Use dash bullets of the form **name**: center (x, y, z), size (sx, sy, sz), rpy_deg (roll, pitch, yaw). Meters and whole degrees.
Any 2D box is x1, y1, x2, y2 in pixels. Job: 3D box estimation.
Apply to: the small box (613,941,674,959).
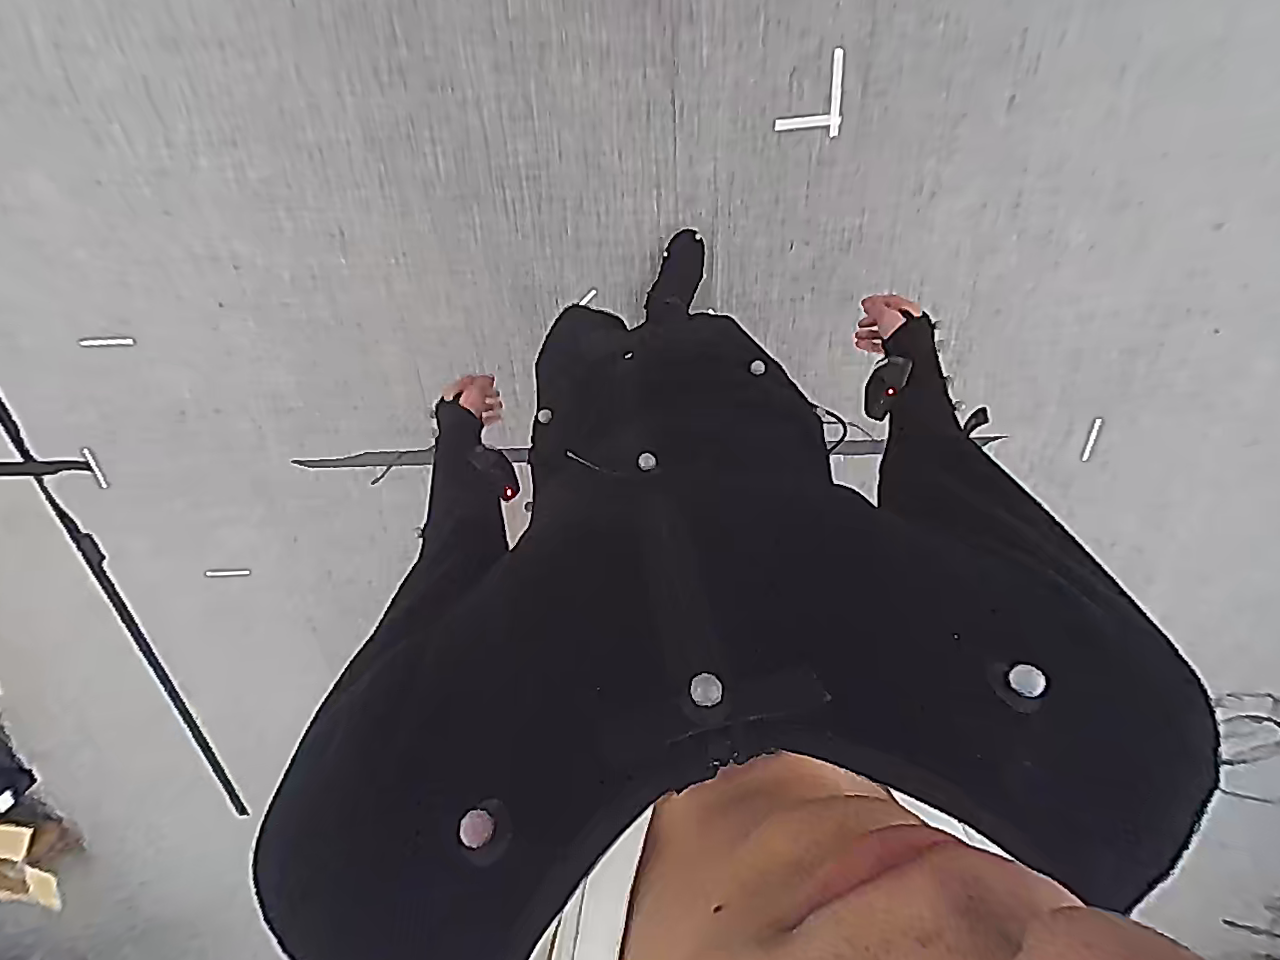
- **small box**: center (0.009, 1.457, 1.542), size (0.179, 0.176, 0.168), rpy_deg (-1, 115, 0)
